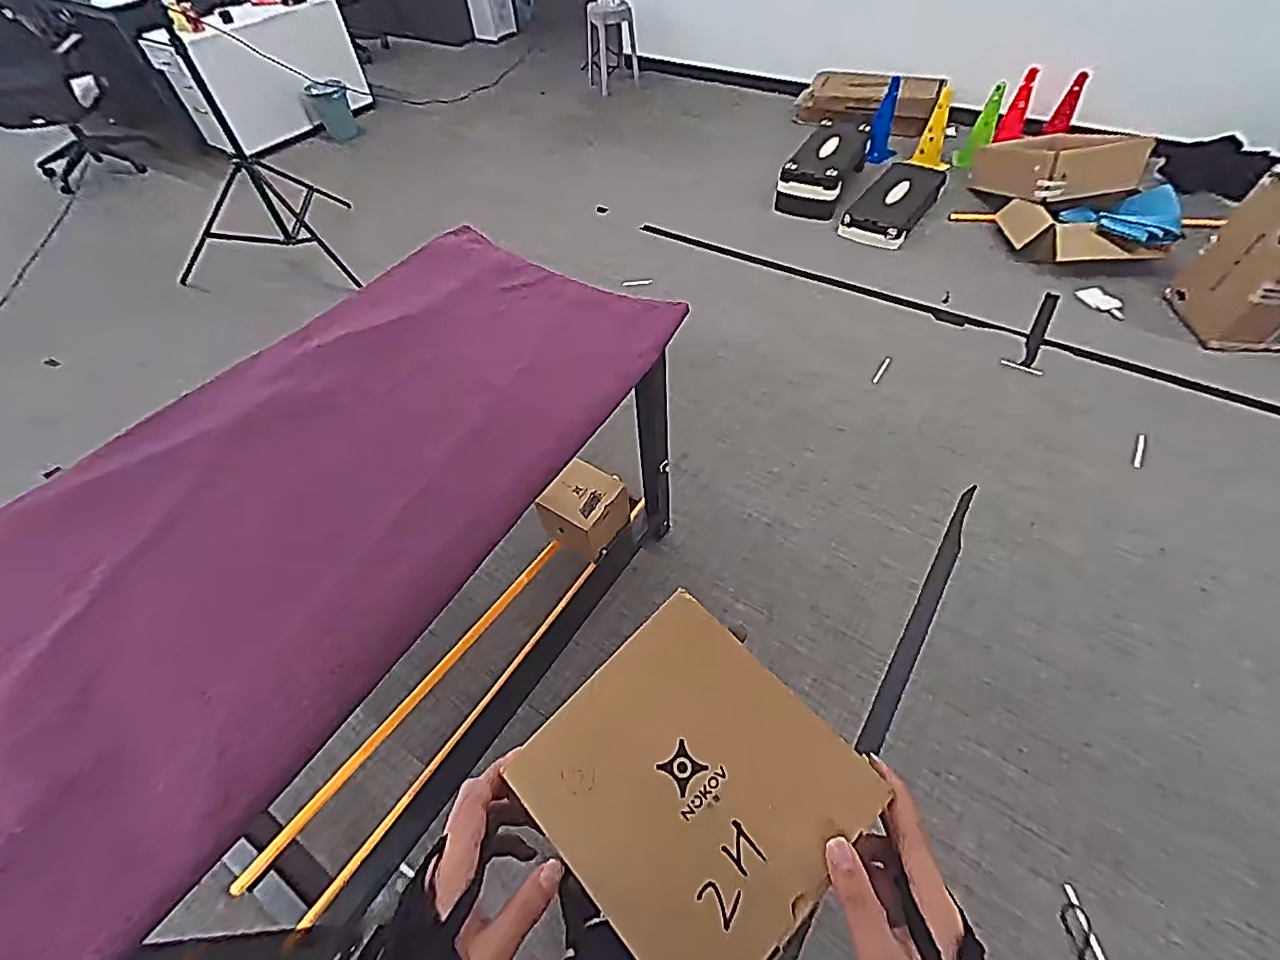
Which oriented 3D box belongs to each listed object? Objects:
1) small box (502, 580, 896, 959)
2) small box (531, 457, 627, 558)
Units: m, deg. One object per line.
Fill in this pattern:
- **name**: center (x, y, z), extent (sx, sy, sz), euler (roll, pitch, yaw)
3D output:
- **small box**: center (0.037, 0.207, 0.390), extent (0.168, 0.176, 0.179), euler (-43, 67, -14)
- **small box**: center (-0.148, 0.077, 1.401), extent (0.179, 0.176, 0.168), euler (27, 59, 22)
